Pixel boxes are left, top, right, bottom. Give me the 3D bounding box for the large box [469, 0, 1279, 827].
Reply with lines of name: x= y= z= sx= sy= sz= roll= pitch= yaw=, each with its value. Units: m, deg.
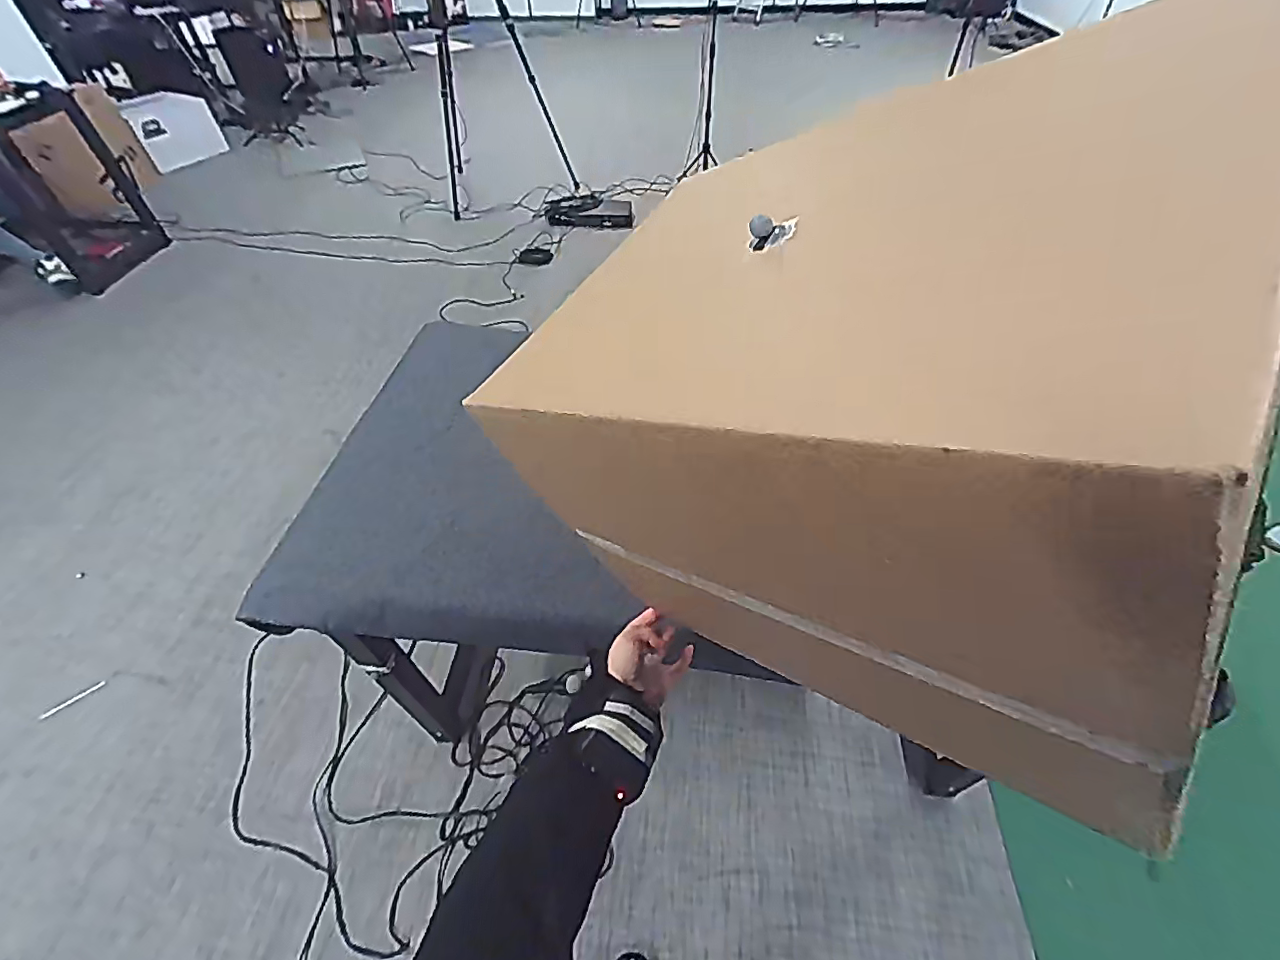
large box: x=0.153 y=-0.037 z=0.404 sx=0.408 sy=0.320 sz=0.320 roll=11 pitch=57 yaw=47
